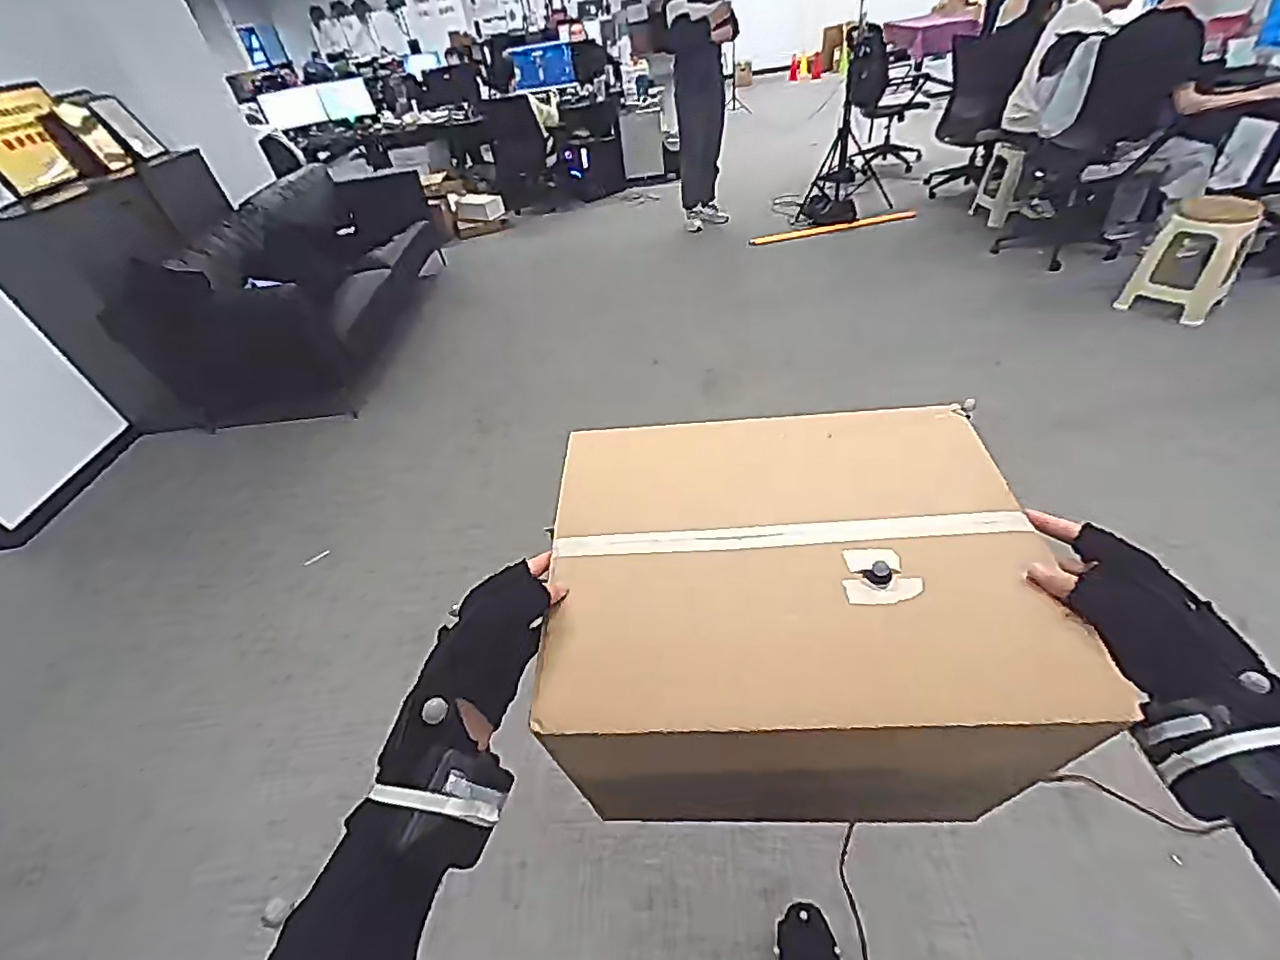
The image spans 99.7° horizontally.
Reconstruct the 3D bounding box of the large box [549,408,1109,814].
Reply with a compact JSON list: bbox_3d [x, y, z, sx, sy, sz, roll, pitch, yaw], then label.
[{"bbox_3d":[0.142,0.152,0.592,0.408,0.320,0.320,-4,48,5],"label":"large box"}]
